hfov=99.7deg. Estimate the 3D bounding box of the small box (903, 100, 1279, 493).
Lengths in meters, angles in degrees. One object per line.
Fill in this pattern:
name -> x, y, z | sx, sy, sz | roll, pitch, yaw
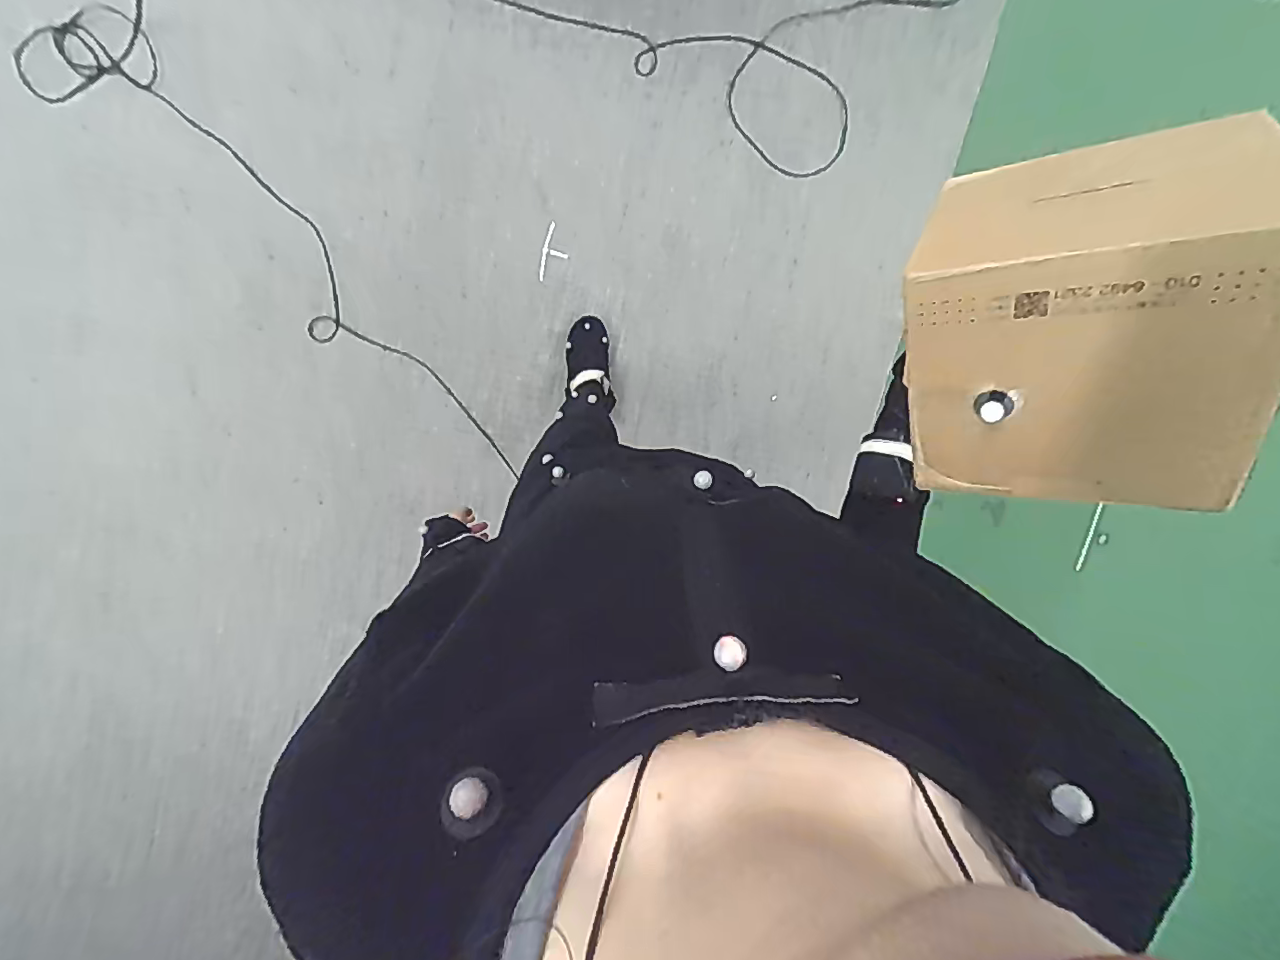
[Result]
small box -> 0.278, -0.113, 0.356 | 0.168, 0.179, 0.176 | 4, 134, 34
